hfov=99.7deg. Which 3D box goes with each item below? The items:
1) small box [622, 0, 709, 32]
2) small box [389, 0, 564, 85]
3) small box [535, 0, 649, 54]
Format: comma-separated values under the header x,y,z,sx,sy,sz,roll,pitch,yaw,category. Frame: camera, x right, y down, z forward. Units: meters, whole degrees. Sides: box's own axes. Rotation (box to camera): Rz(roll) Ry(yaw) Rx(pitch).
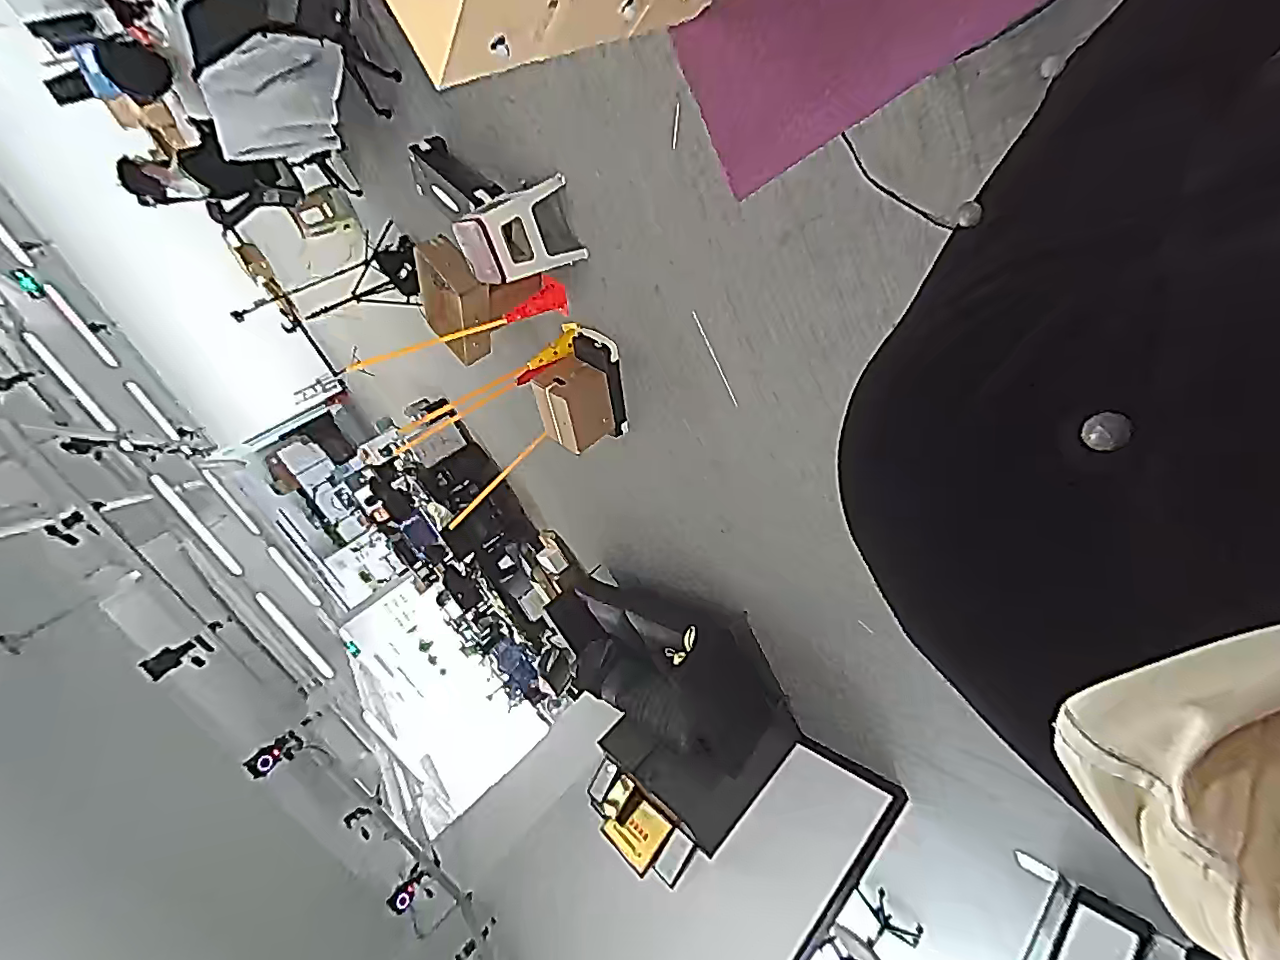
x,y,z,sx,sy,sz,roll,pitch,yaw,category
0.037,-0.792,0.762,0.168,0.176,0.179,0,124,59,small box
-0.194,-0.612,0.621,0.168,0.176,0.179,-1,123,60,small box
-0.079,-0.702,0.690,0.168,0.176,0.179,0,125,60,small box
